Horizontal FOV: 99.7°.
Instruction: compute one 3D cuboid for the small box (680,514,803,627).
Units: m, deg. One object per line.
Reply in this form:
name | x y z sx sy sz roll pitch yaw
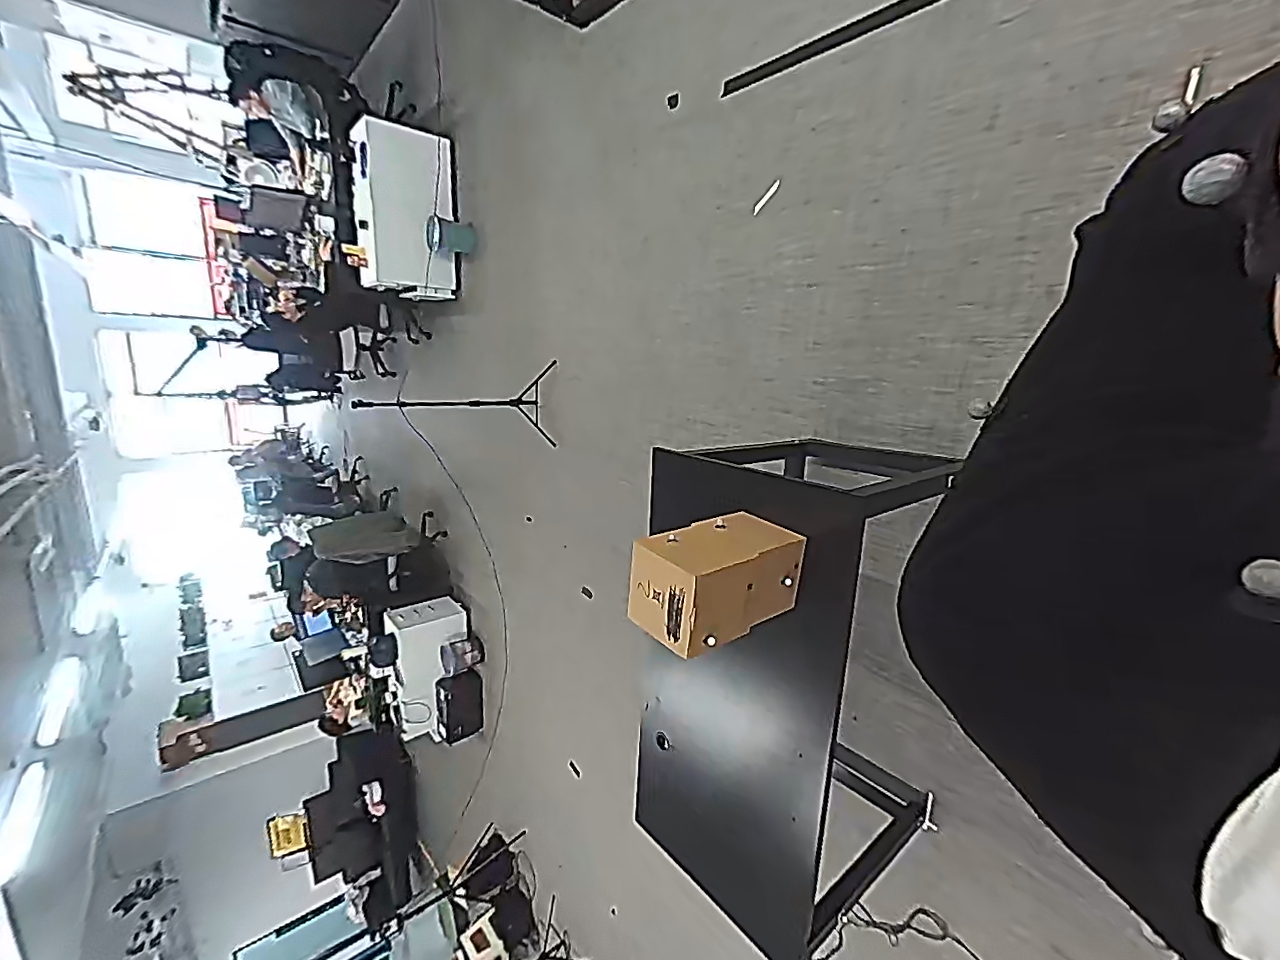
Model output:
small box | 0.211 0.178 1.140 0.179 0.176 0.168 24 116 47
